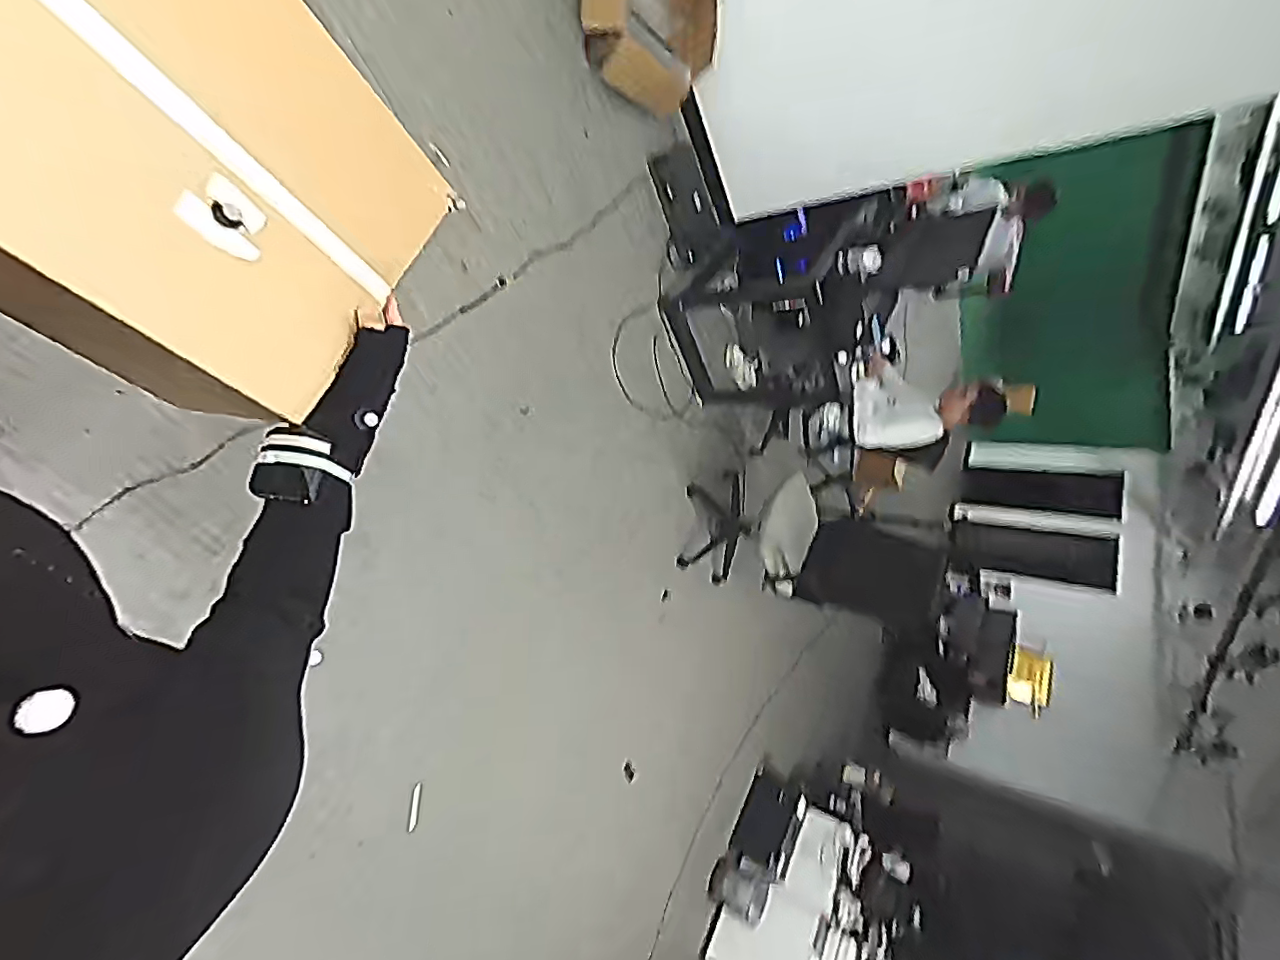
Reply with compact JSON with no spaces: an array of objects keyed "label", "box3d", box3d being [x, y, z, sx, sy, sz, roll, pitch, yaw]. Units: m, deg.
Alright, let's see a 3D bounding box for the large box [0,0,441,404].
[{"label":"large box","box3d":[-0.486,-0.310,0.491,0.408,0.320,0.320,47,59,-50]}]
